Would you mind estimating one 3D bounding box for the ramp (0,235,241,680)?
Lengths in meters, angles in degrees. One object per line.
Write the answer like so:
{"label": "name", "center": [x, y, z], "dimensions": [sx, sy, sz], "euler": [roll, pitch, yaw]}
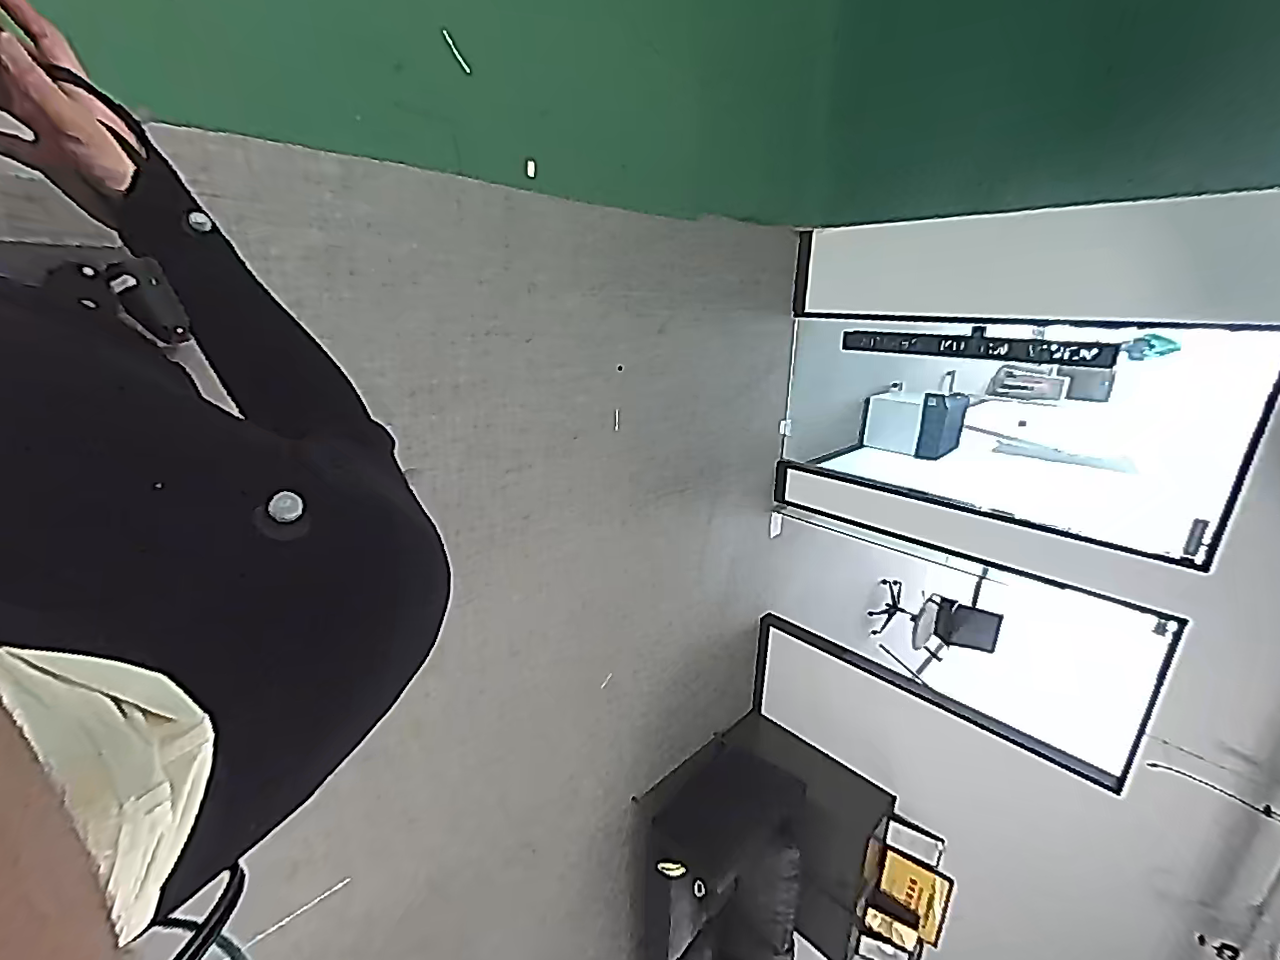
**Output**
{"label": "ramp", "center": [-1.284, -0.017, 1.224], "dimensions": [0.509, 0.206, 0.991], "euler": [-19, 118, -42]}
